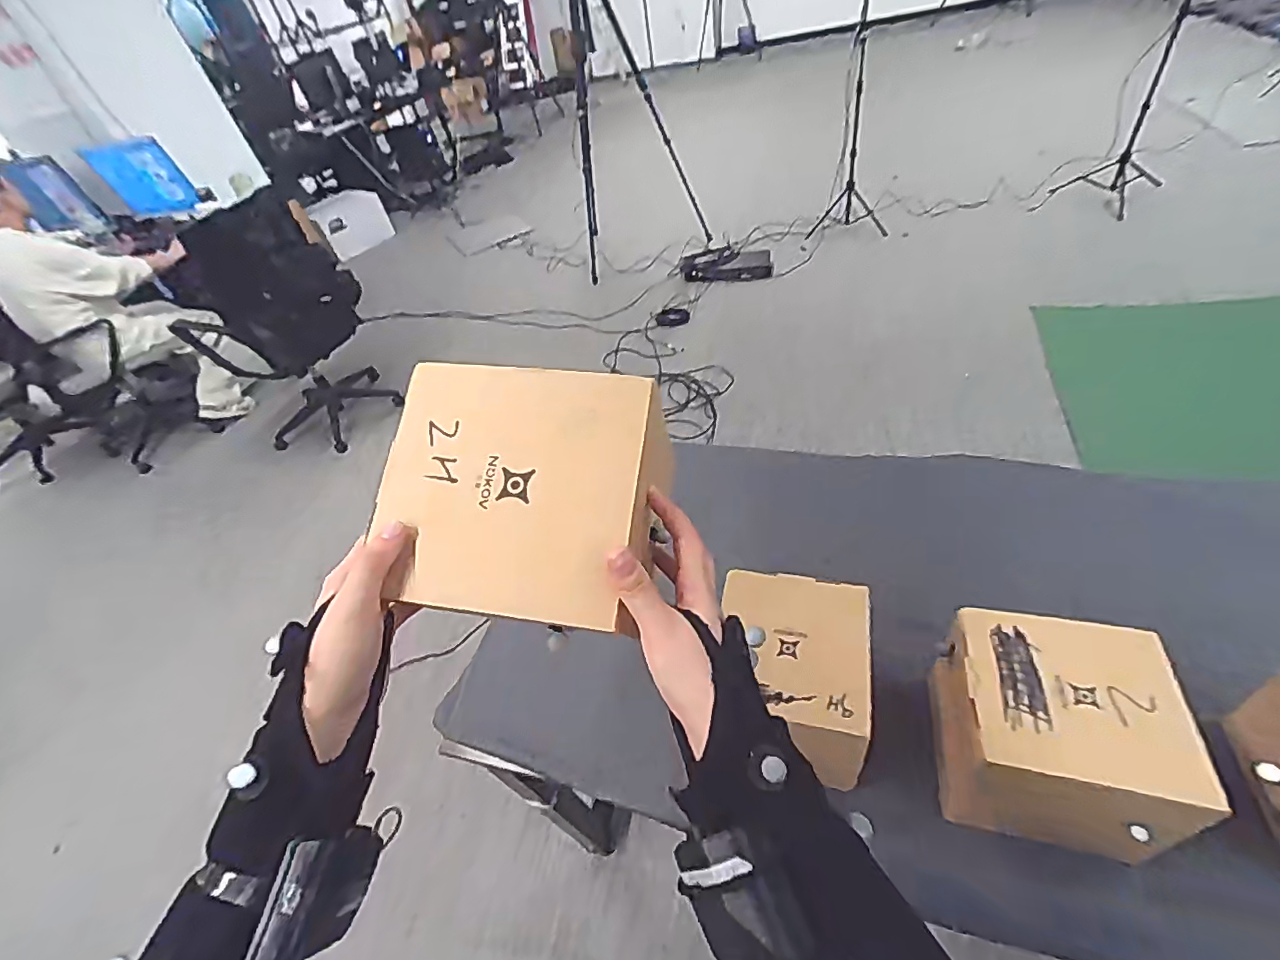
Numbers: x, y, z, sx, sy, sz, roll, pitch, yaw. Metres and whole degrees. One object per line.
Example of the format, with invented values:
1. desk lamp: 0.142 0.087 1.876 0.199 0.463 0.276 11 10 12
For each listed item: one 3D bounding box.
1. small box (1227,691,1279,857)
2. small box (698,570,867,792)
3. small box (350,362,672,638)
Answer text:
1. small box: 0.692 0.271 0.467 0.179 0.176 0.168 3 43 20
2. small box: 0.174 0.236 0.646 0.168 0.176 0.179 4 45 20
3. small box: -0.074 0.026 0.420 0.179 0.176 0.168 6 73 12
